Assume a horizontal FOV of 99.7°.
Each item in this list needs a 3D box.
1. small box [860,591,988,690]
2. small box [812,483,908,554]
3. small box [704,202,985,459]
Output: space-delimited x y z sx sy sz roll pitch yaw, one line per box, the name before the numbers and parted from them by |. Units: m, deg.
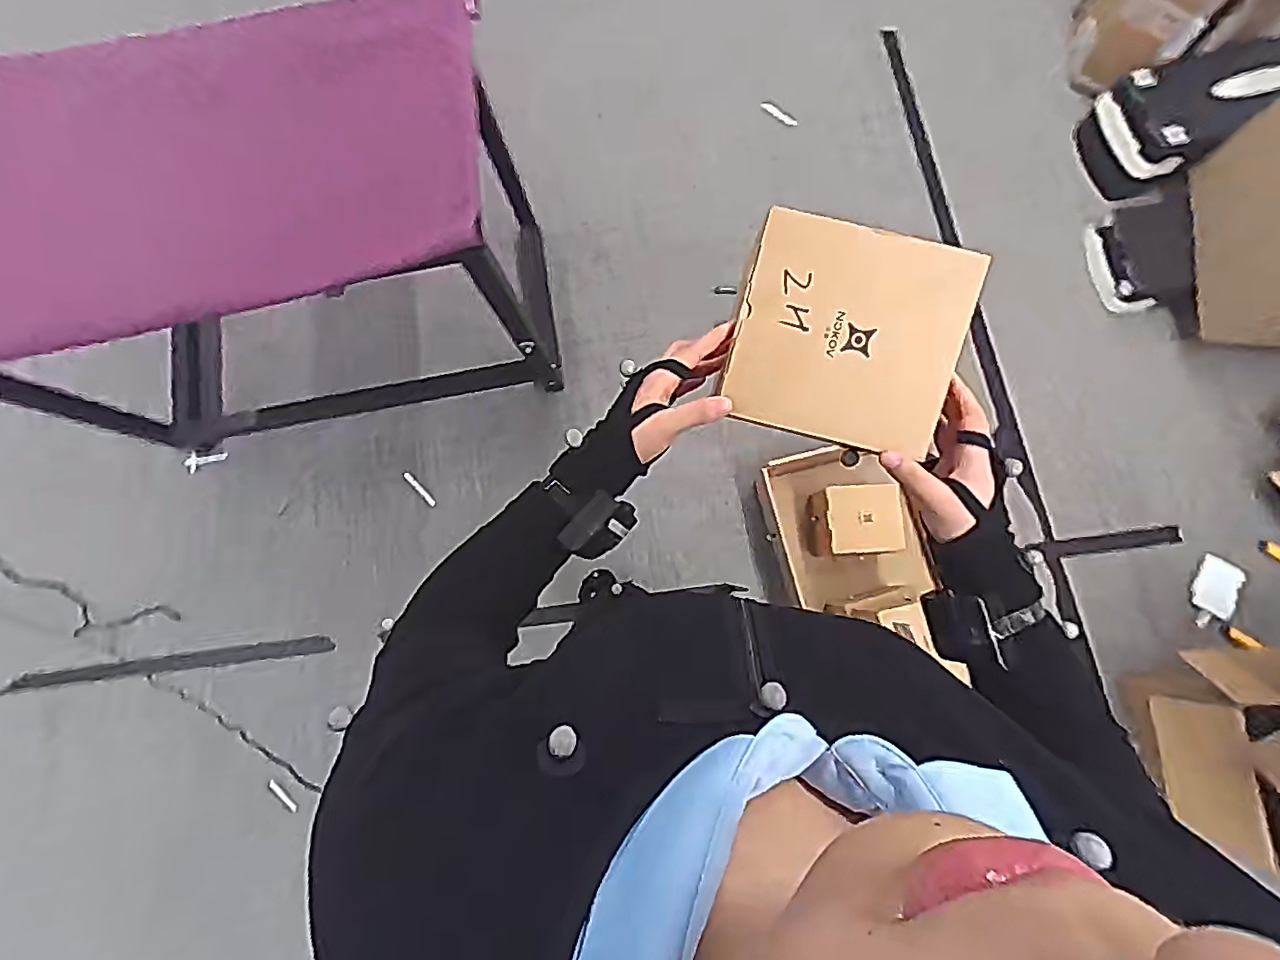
small box | 0.593 0.339 1.162 0.179 0.176 0.168 -13 78 0
small box | 0.553 0.101 1.380 0.179 0.176 0.168 -3 80 3
small box | 0.165 -0.126 0.502 0.179 0.176 0.168 15 98 3
